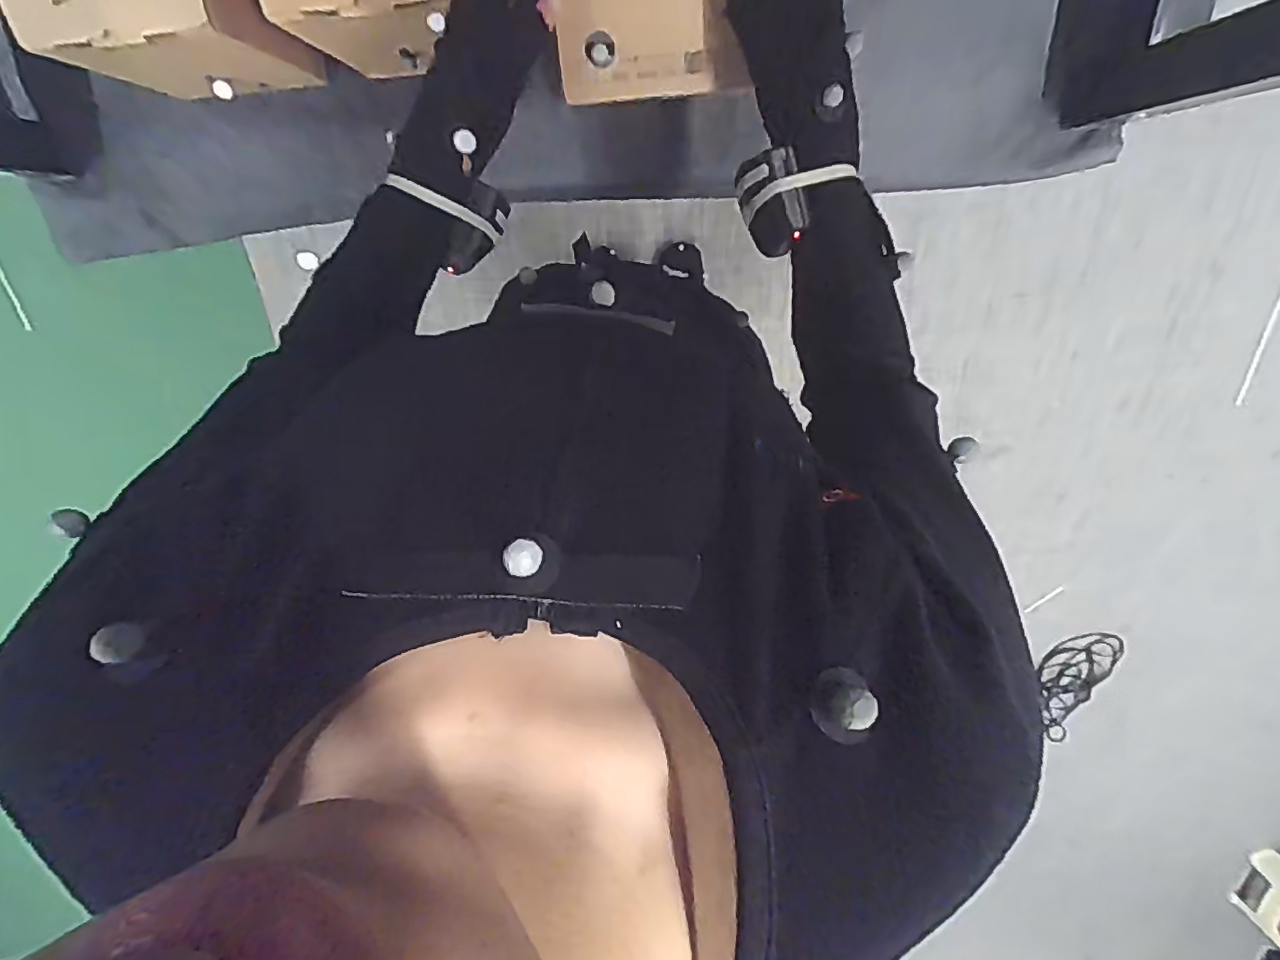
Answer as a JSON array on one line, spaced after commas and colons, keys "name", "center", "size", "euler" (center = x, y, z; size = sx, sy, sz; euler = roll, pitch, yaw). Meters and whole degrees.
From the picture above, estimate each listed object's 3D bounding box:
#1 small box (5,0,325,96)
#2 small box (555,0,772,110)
[{"name": "small box", "center": [-0.418, -0.466, 0.472], "size": [0.168, 0.176, 0.179], "euler": [-3, 114, 3]}, {"name": "small box", "center": [0.014, -0.420, 0.451], "size": [0.168, 0.179, 0.176], "euler": [-4, 123, 0]}]
